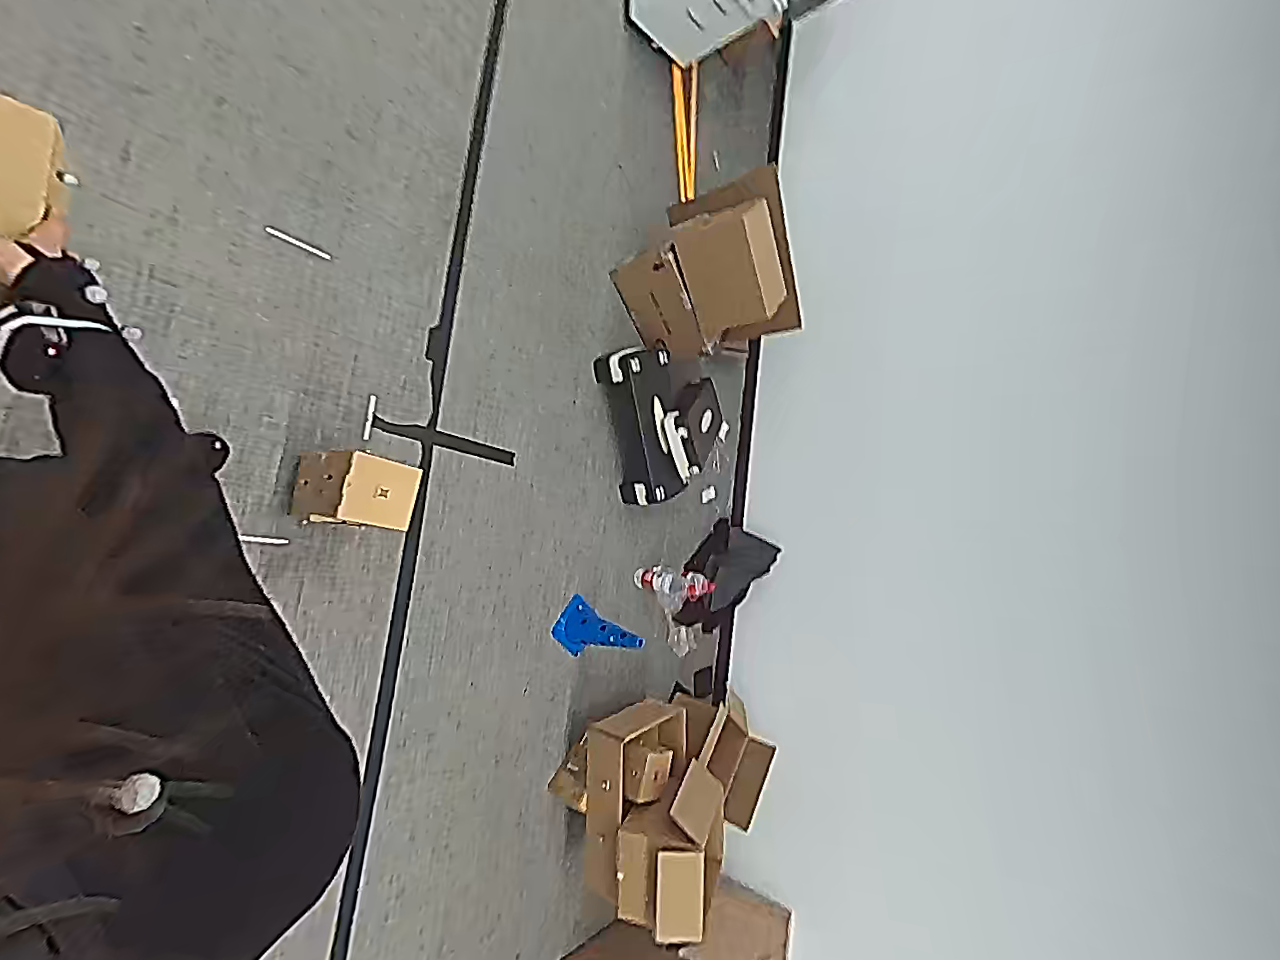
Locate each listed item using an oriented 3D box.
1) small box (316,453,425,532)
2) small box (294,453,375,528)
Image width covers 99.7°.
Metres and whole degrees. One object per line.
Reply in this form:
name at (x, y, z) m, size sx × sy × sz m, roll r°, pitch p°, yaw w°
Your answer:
small box at (-0.688, 0.031, 1.378) m, size 0.179 × 0.176 × 0.168 m, roll 21°, pitch 76°, yaw -46°
small box at (-0.818, 0.030, 1.476) m, size 0.168 × 0.176 × 0.179 m, roll 15°, pitch 79°, yaw -48°
